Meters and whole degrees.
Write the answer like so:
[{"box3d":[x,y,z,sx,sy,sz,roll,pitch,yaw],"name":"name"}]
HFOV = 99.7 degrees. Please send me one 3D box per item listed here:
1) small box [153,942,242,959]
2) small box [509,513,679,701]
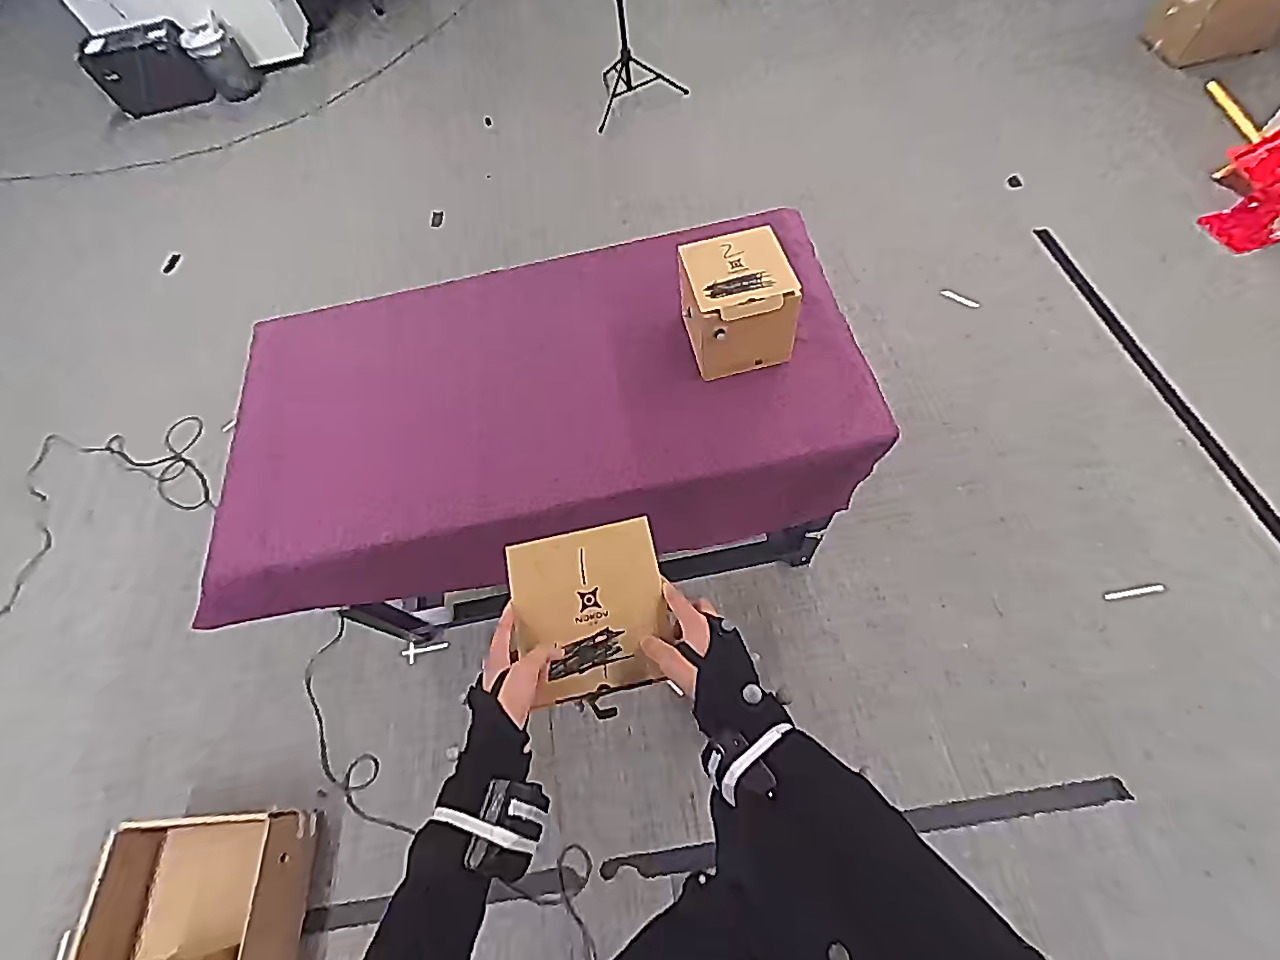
[{"box3d":[-1.001,1.118,1.150,0.179,0.176,0.168,-10,60,2],"name":"small box"},{"box3d":[-0.049,0.159,0.657,0.168,0.176,0.179,-12,68,-2],"name":"small box"}]
